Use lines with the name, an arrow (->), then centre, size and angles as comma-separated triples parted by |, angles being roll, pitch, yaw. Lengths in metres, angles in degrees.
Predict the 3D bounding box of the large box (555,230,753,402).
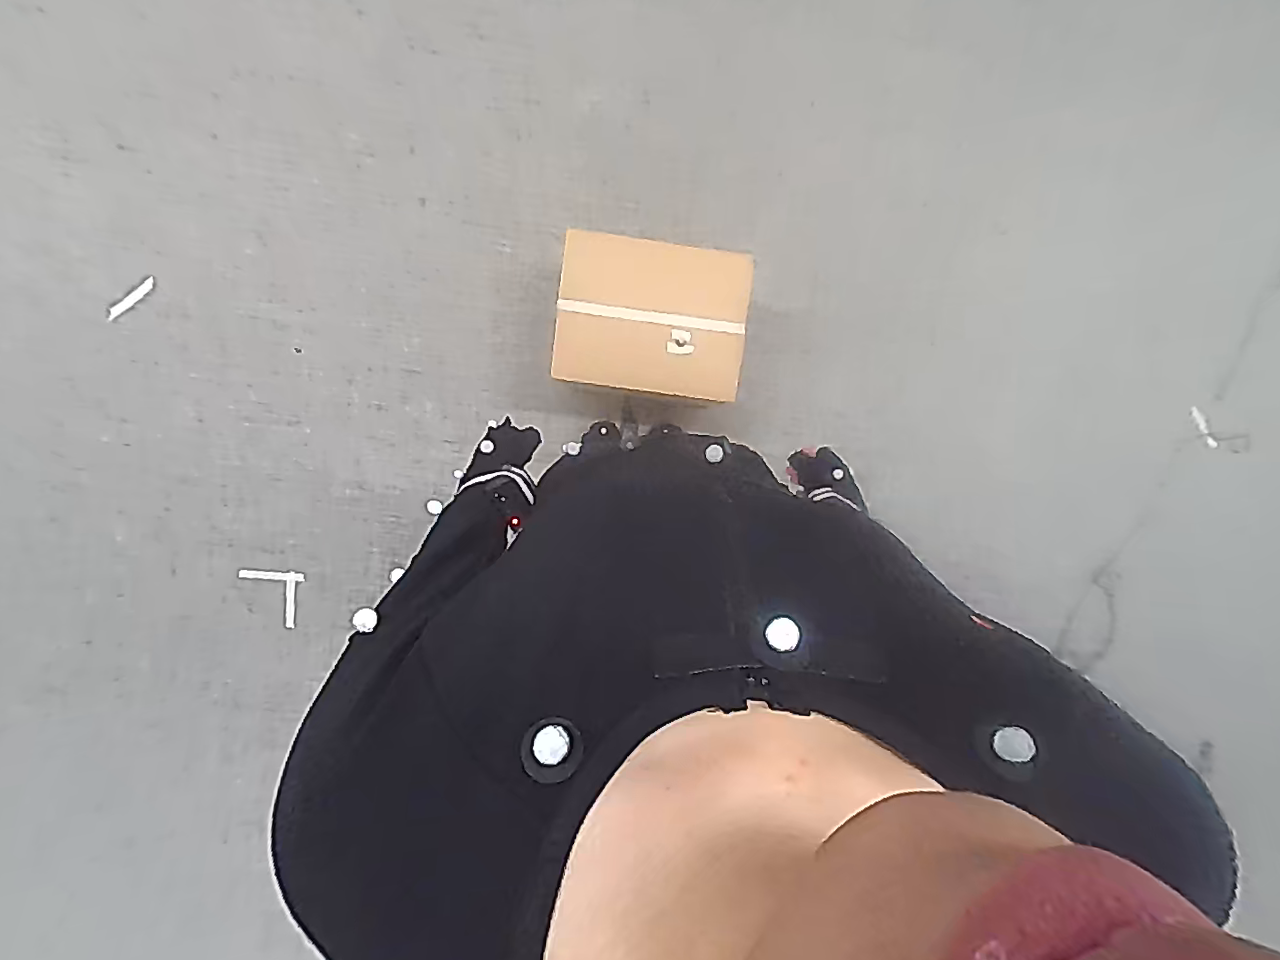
large box -> 0.020, -0.368, 1.302 | 0.408, 0.320, 0.320 | 7, 96, -4
